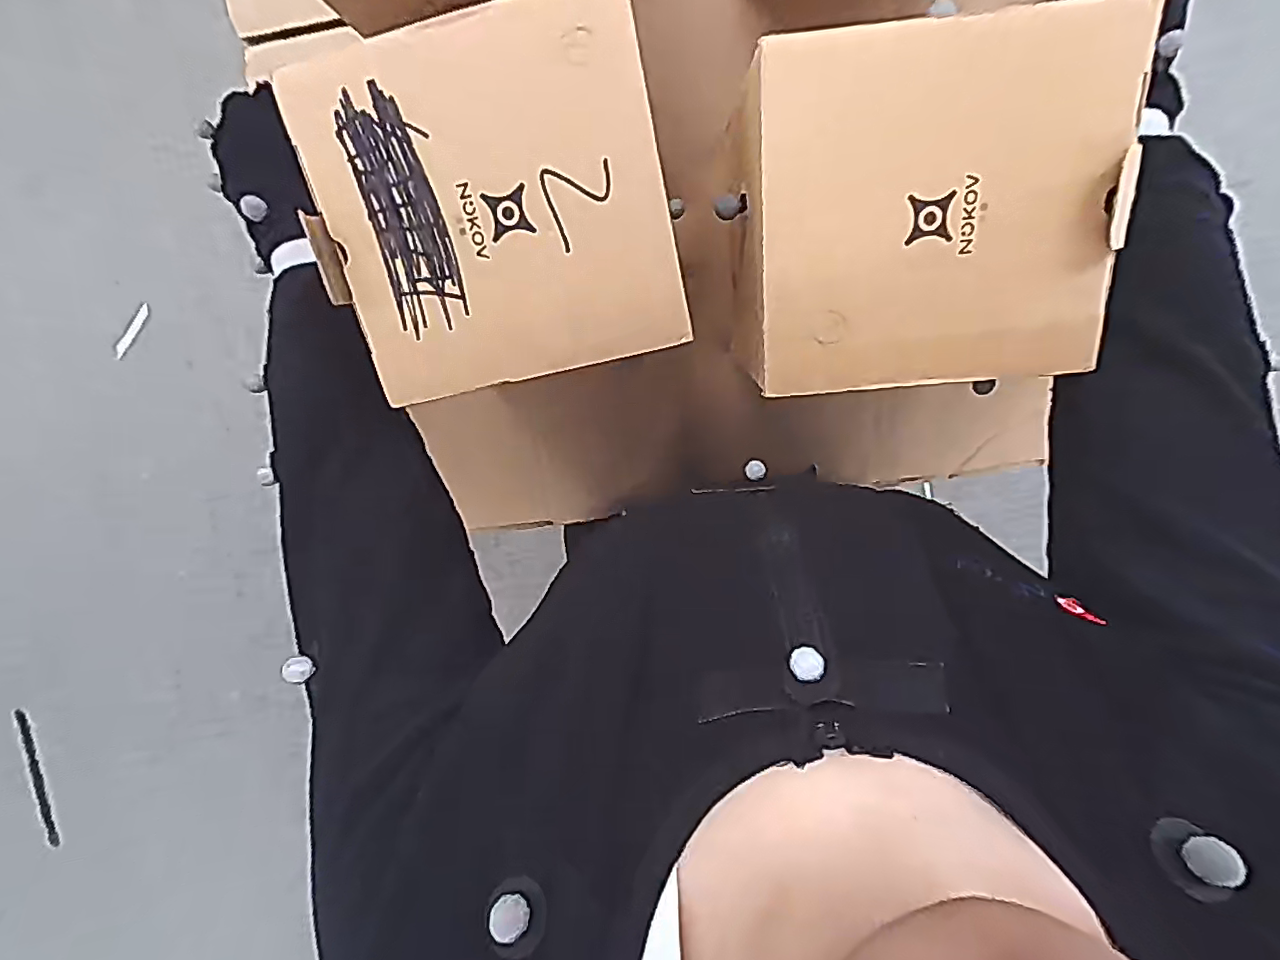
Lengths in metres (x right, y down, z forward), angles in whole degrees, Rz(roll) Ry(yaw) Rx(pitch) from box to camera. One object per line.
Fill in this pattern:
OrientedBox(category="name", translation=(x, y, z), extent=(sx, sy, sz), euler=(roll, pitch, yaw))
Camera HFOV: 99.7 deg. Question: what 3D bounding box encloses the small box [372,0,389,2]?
OrientedBox(category="small box", translation=(-0.140, -0.392, 0.276), extent=(0.168, 0.176, 0.179), euler=(-8, 106, 4))
